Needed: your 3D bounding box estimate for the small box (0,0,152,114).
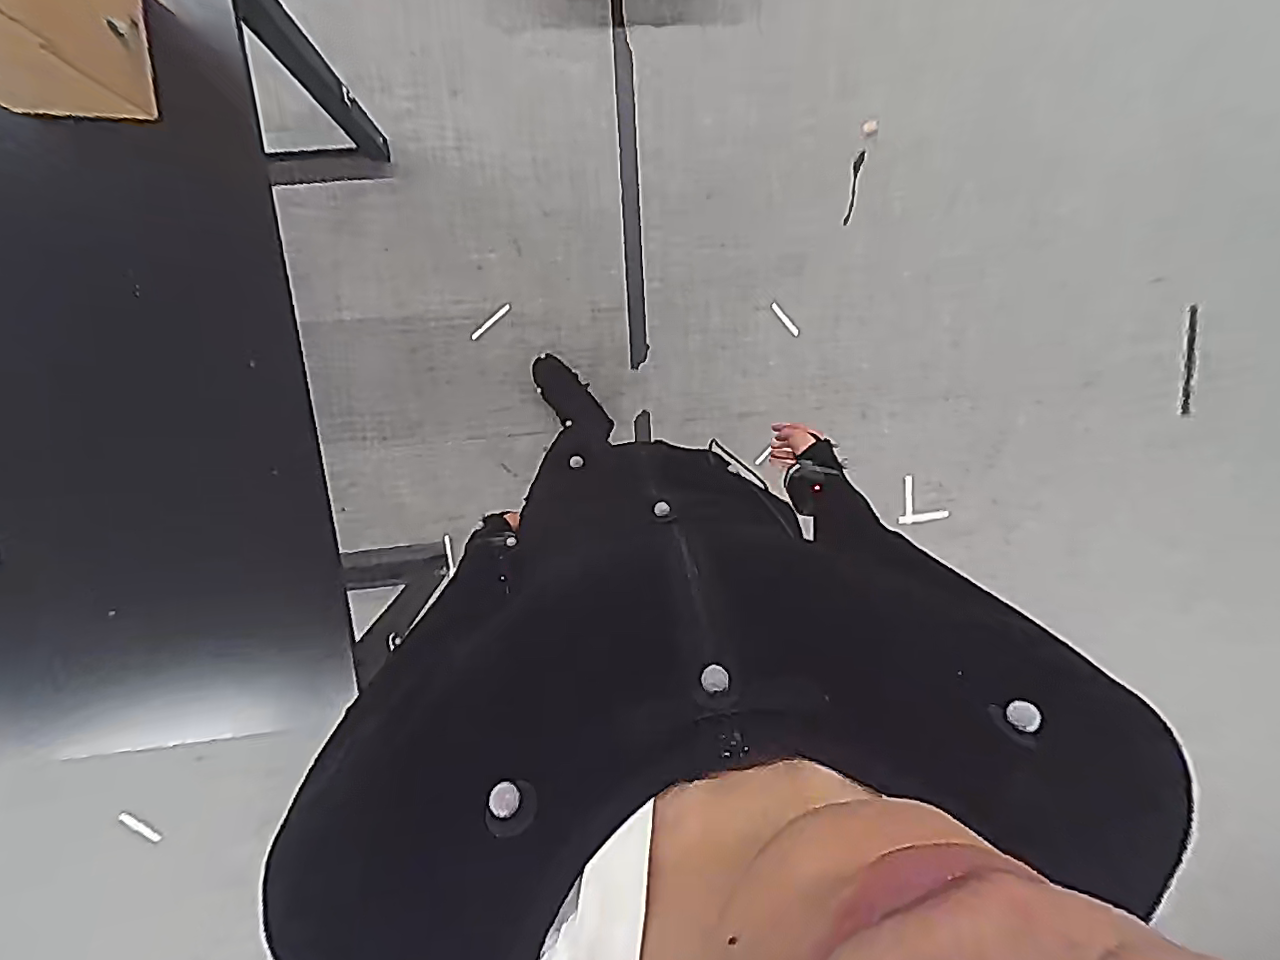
[{"bbox_3d":[-0.730,-0.554,0.626,0.179,0.176,0.168,0,101,-6],"label":"small box"}]
